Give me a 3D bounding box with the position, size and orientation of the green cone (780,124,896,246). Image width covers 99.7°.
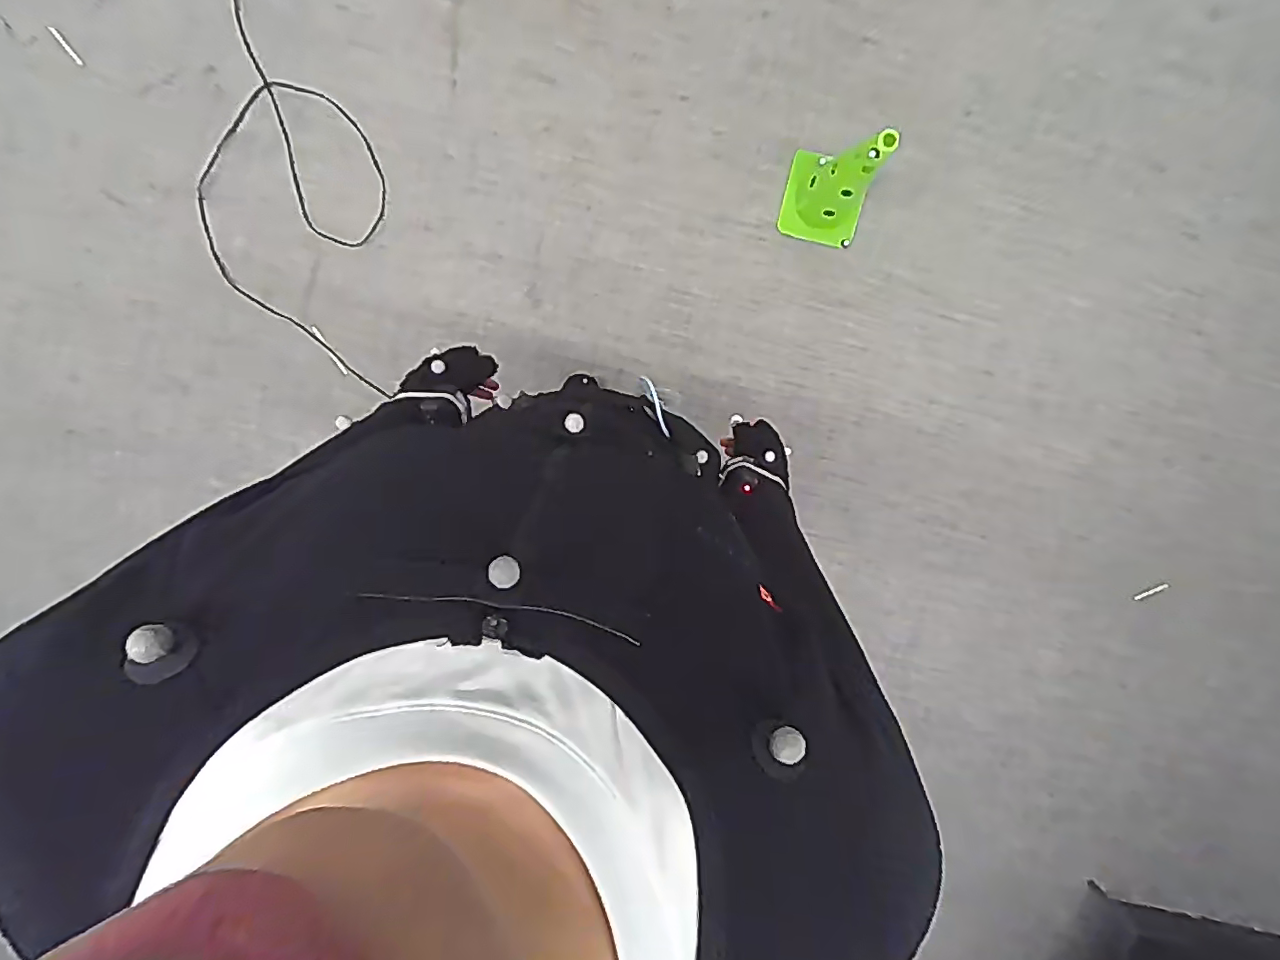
[{"bbox_3d":[0.469,-0.682,1.191,0.202,0.368,0.200,13,99,-2],"label":"green cone"}]
